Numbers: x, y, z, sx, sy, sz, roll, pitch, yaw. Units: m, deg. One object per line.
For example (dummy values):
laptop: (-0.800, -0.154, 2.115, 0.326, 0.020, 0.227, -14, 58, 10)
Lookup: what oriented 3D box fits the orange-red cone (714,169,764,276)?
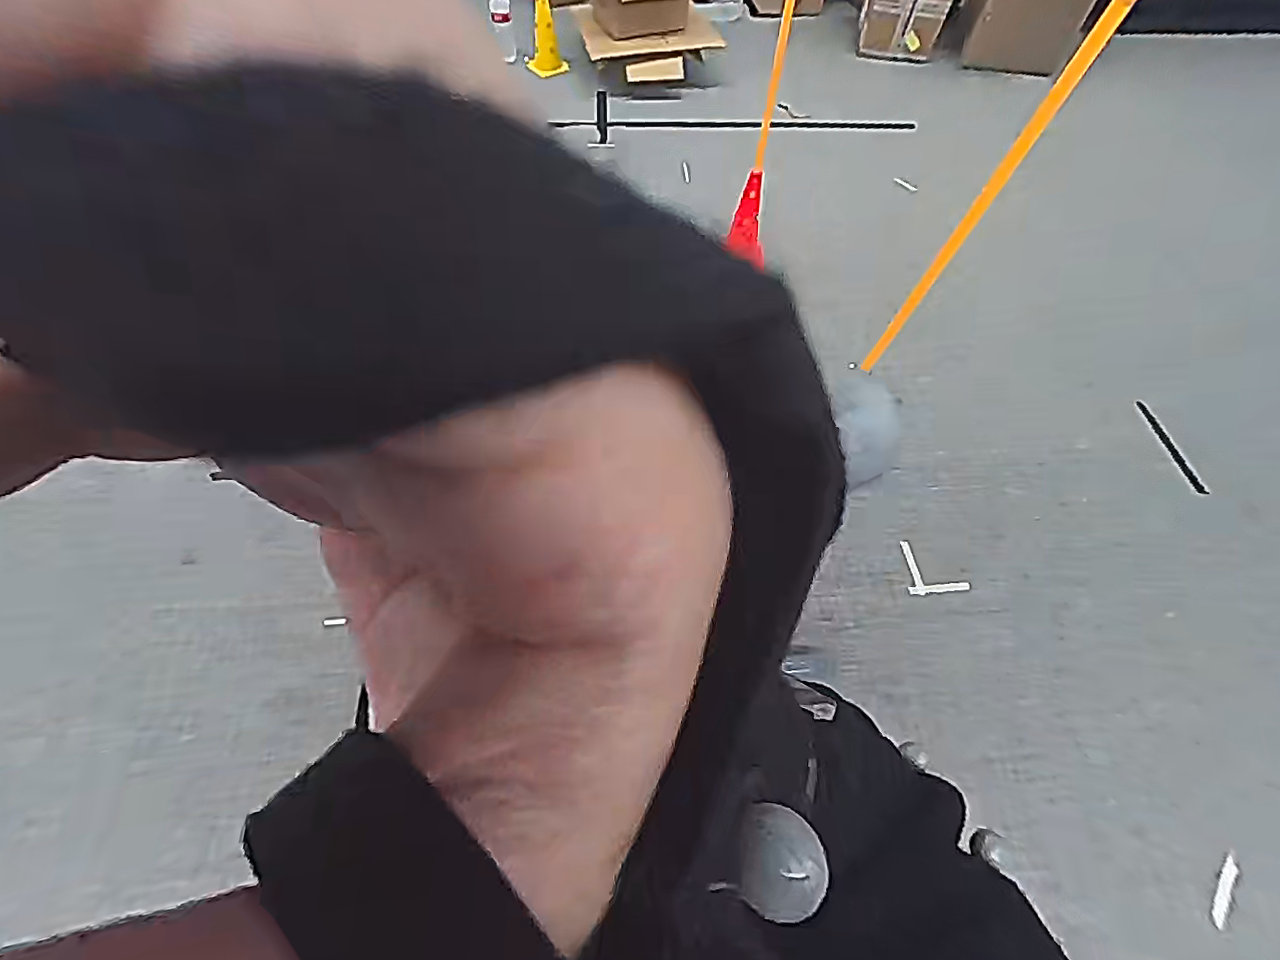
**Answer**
orange-red cone: (0.403, -0.977, 2.021, 0.199, 0.360, 0.198, 4, 60, -1)
